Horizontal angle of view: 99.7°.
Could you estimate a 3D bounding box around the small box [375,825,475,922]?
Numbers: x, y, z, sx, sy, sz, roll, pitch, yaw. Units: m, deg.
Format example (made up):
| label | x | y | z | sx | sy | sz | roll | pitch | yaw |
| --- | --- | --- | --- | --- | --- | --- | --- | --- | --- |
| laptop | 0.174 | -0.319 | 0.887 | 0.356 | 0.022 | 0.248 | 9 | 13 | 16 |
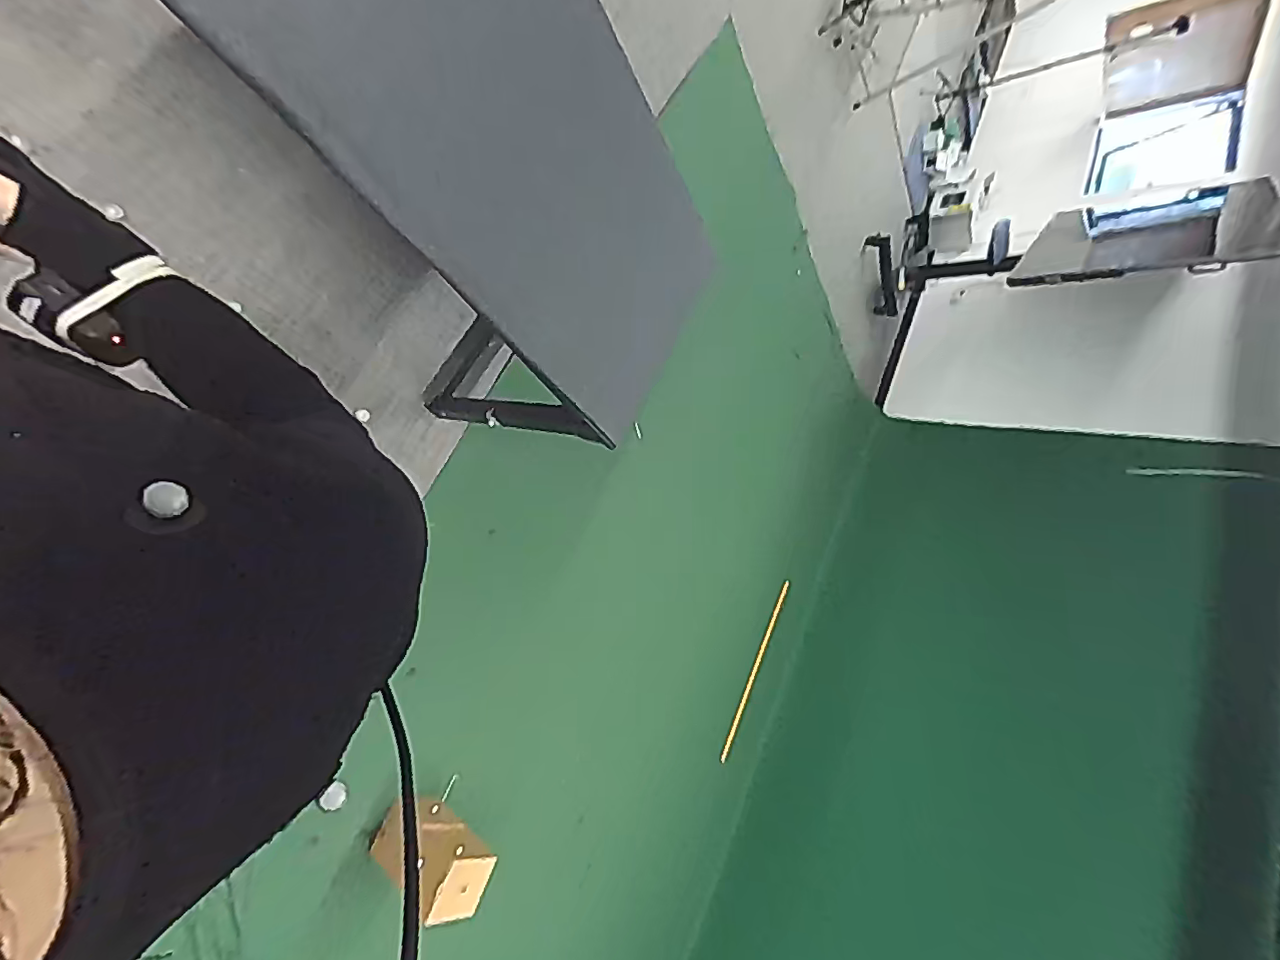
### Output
| label | x | y | z | sx | sy | sz | roll | pitch | yaw |
| --- | --- | --- | --- | --- | --- | --- | --- | --- | --- |
| small box | -0.629 | 1.141 | 1.584 | 0.179 | 0.176 | 0.168 | 41 | 67 | -48 |
